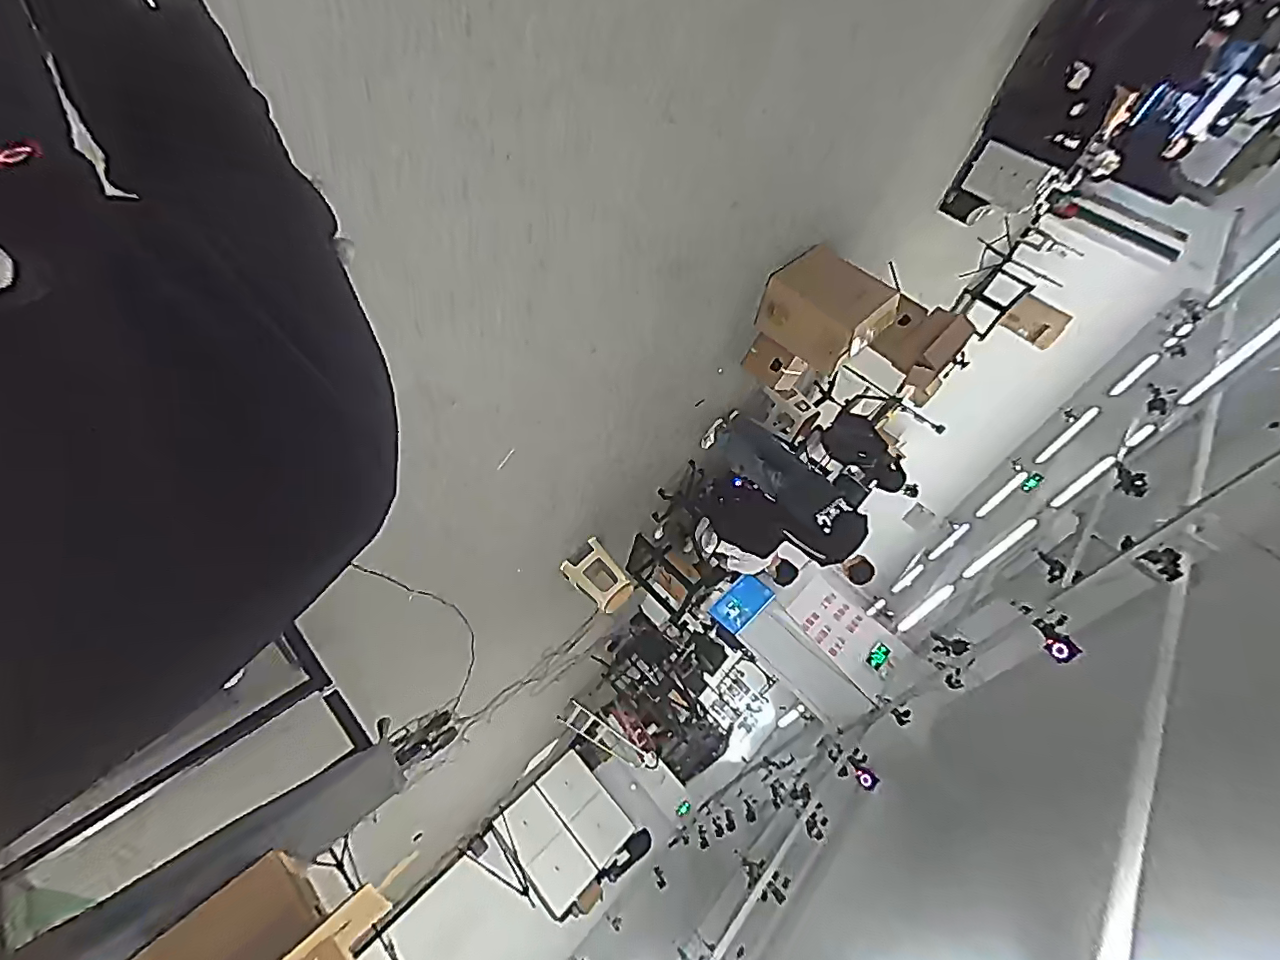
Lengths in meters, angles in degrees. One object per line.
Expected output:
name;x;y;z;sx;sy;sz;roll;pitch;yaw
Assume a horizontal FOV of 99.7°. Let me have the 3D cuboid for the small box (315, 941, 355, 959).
small box;-0.937;1.537;1.622;0.168;0.176;0.179;-33;152;-36
